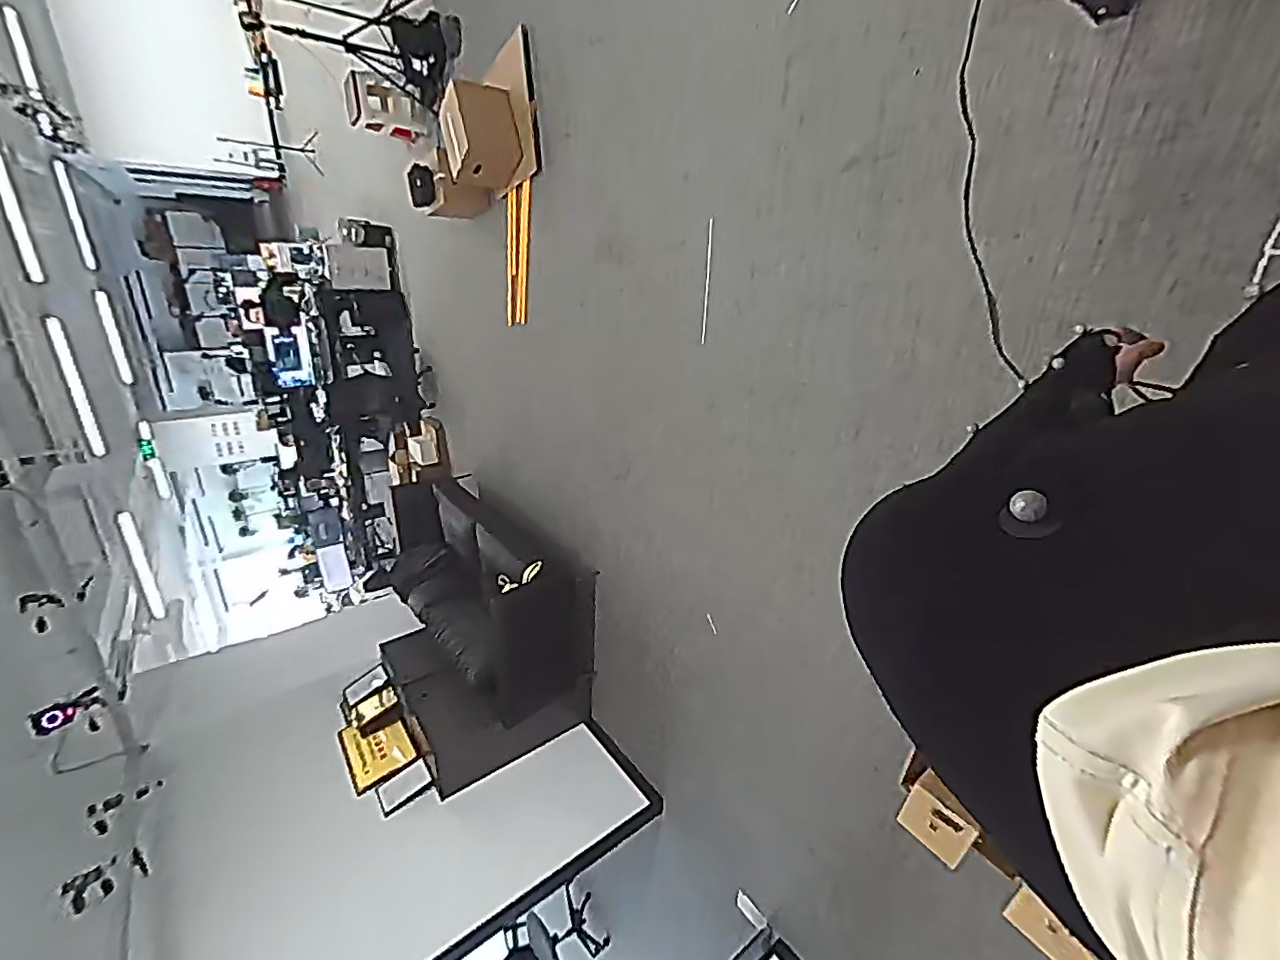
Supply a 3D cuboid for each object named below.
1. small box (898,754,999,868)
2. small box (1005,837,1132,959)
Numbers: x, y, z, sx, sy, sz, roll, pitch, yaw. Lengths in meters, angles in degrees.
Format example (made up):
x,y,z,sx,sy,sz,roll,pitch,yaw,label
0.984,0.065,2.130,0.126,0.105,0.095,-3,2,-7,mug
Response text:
x,y,z,sx,sy,sz,roll,pitch,yaw,label
0.850,0.899,1.485,0.168,0.176,0.179,33,129,41,small box
1.024,1.013,1.293,0.168,0.176,0.179,34,129,44,small box
